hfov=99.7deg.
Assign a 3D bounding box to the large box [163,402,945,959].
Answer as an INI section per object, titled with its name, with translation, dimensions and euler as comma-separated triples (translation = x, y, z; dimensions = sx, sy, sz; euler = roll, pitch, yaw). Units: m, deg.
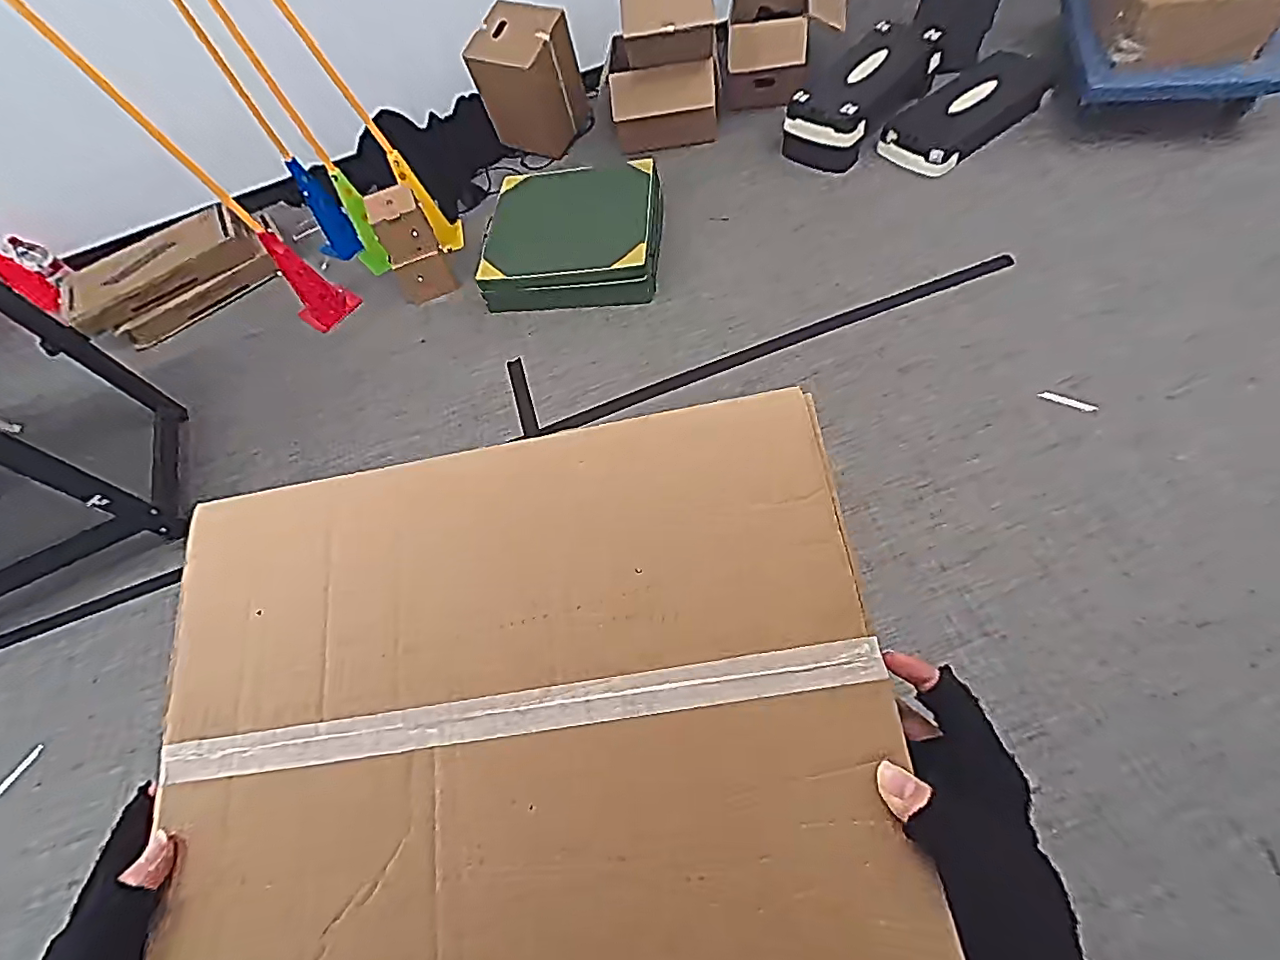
[large box]
translation = -0.053, 0.175, 0.444
dimensions = 0.408, 0.320, 0.320
euler = -11, 70, 6
